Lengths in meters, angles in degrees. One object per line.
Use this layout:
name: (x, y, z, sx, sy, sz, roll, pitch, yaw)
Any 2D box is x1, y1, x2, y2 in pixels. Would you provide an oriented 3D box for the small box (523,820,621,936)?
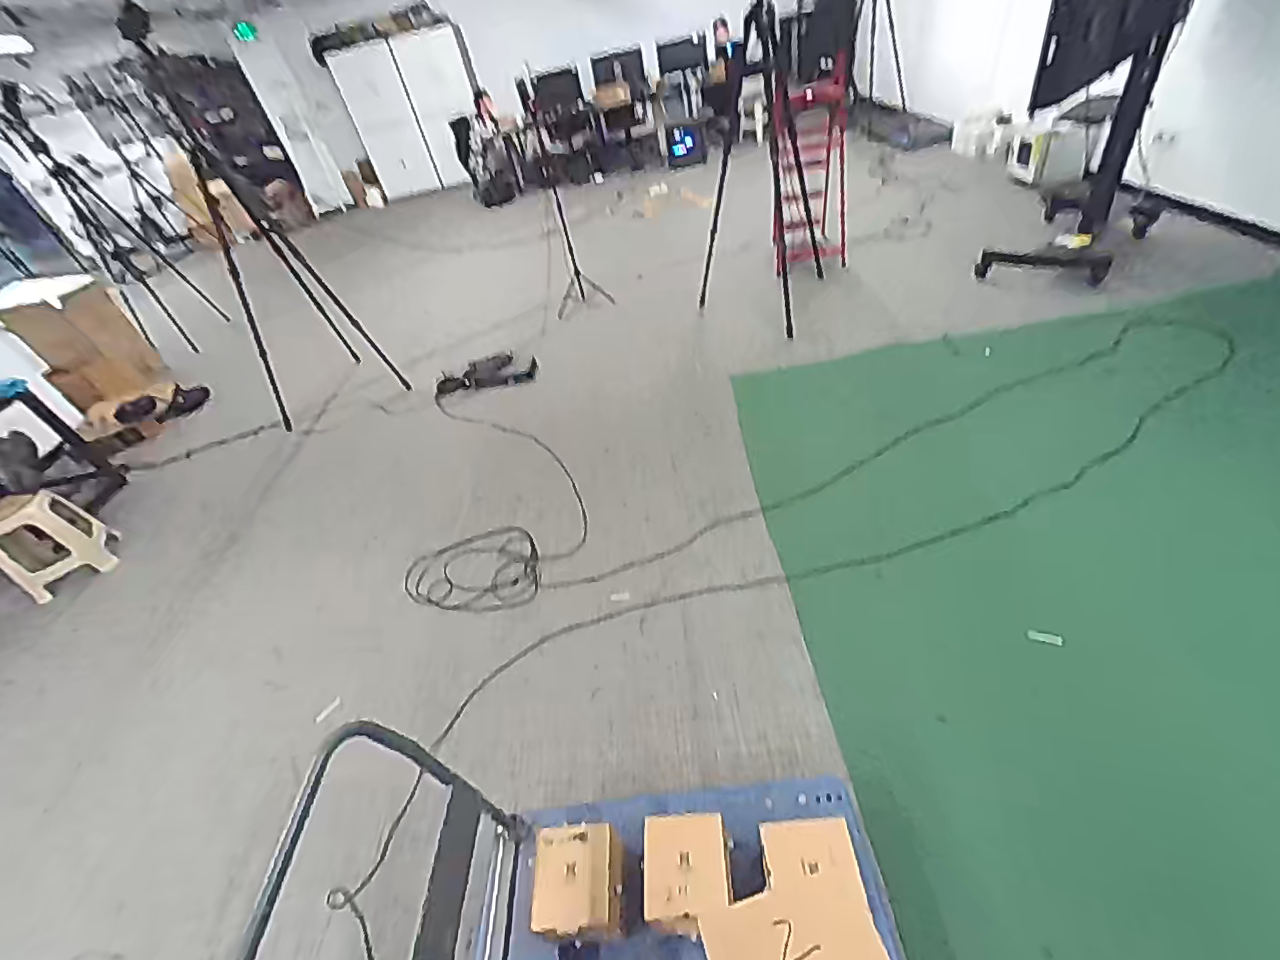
small box: (-0.136, 0.859, 1.161, 0.168, 0.176, 0.179, -8, 42, 6)

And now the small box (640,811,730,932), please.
small box: (0.096, 0.823, 1.138, 0.168, 0.176, 0.179, -7, 41, 8)

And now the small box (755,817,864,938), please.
small box: (0.337, 0.804, 1.092, 0.179, 0.176, 0.168, -9, 42, 7)
